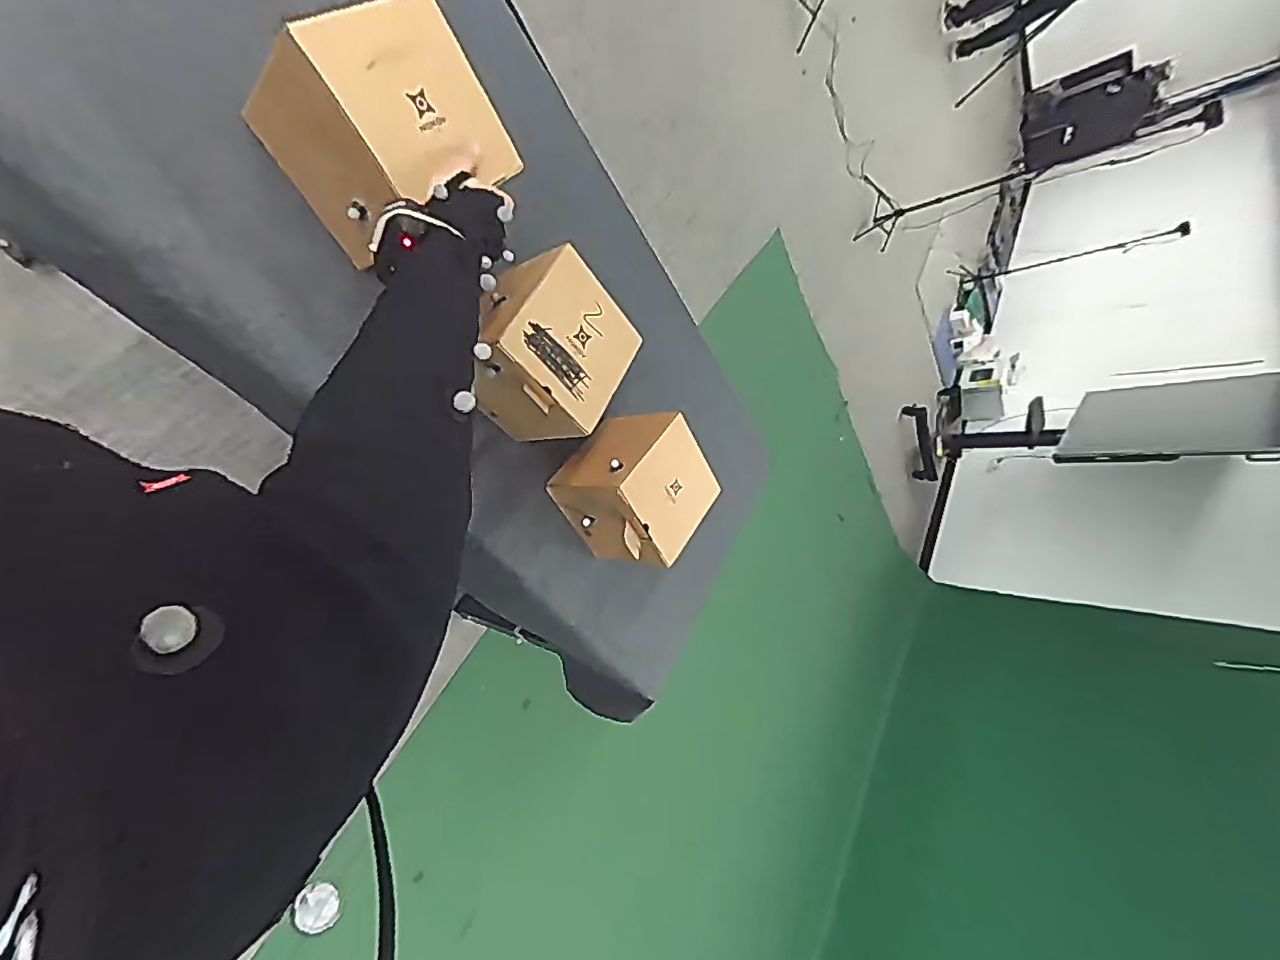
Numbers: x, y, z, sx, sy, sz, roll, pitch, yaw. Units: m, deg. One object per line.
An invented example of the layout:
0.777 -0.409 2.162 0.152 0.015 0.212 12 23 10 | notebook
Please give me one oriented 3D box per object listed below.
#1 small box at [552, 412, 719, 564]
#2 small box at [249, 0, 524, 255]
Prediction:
-0.007 0.008 0.868 0.179 0.176 0.168 -52 126 -32 | small box
-0.268 -0.366 0.582 0.168 0.176 0.179 -54 126 -32 | small box
